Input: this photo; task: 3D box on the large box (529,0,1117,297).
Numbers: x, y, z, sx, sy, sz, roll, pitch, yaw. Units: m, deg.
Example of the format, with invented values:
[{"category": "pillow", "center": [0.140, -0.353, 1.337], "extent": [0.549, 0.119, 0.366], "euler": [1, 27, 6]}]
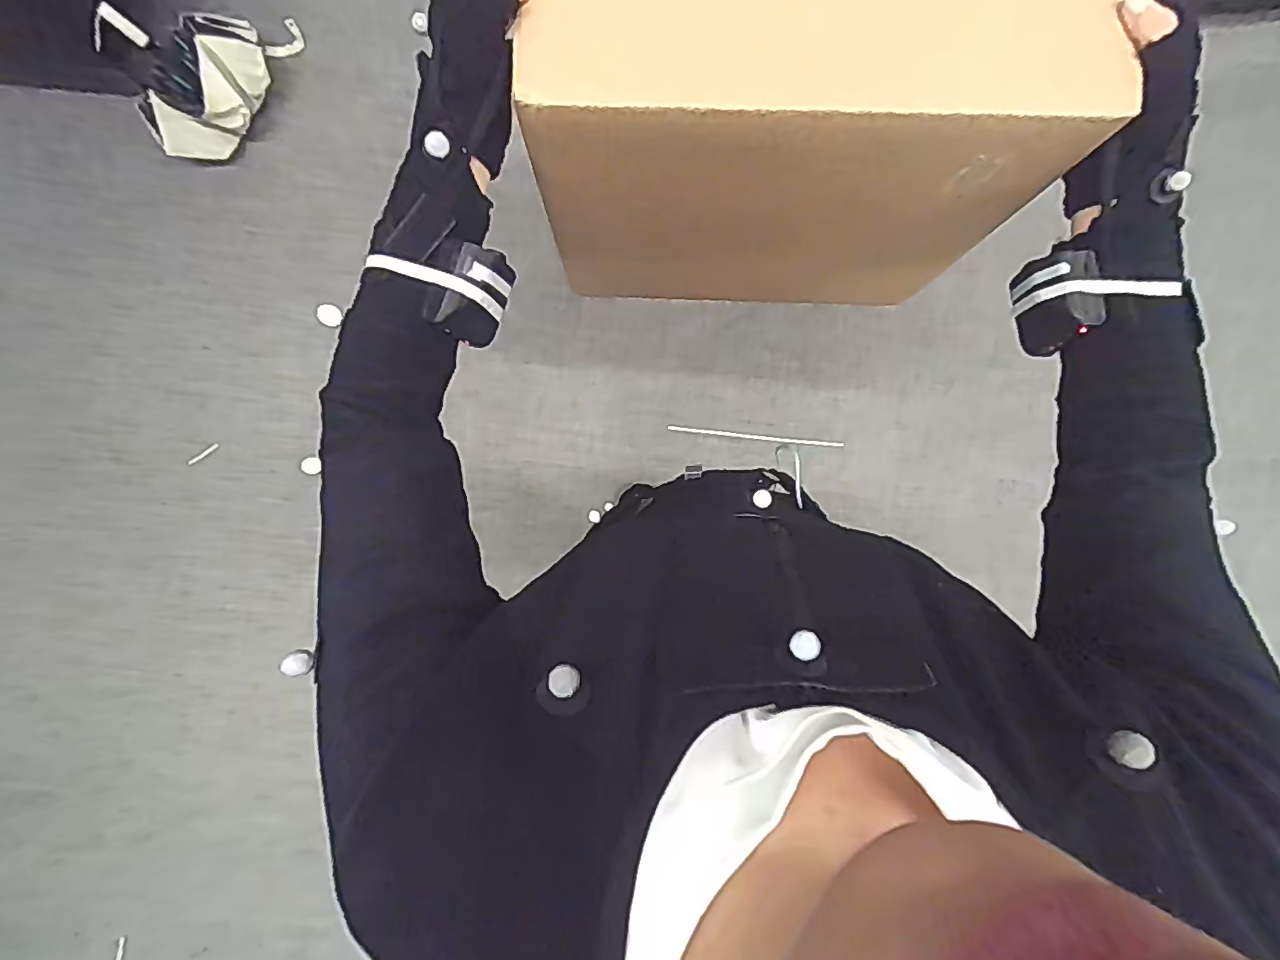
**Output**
[{"category": "large box", "center": [0.120, -0.385, 0.520], "extent": [0.408, 0.320, 0.320], "euler": [1, 86, -1]}]
